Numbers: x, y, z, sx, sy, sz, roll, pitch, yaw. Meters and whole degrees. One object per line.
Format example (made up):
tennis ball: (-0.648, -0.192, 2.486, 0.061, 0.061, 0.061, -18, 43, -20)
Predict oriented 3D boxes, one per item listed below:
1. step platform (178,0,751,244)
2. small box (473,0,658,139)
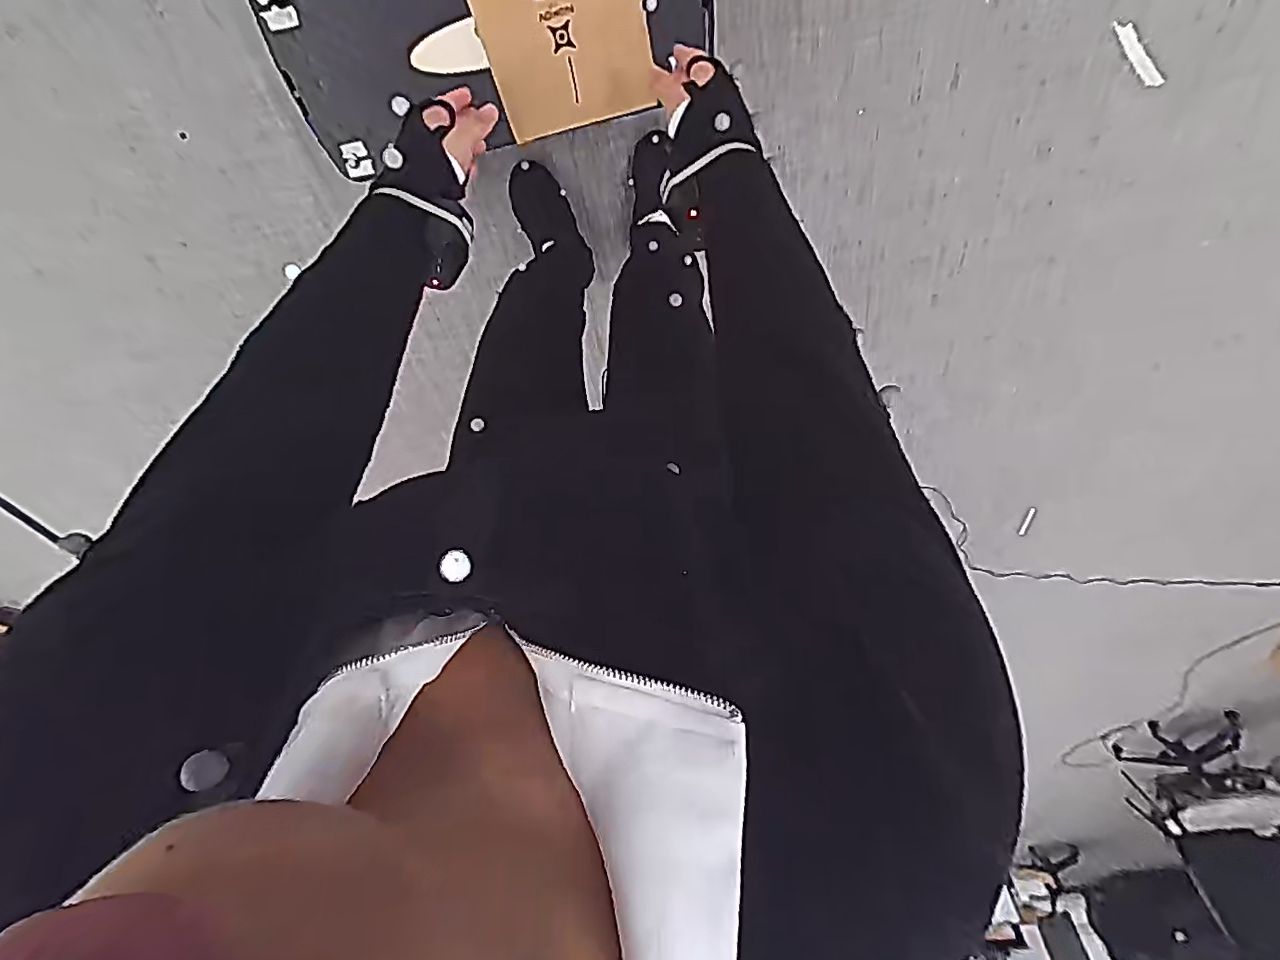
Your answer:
step platform: (-0.208, -0.556, 0.739, 0.684, 0.204, 0.286, -9, 133, 8)
small box: (-0.078, -0.514, 0.599, 0.168, 0.176, 0.179, -9, 134, 9)
